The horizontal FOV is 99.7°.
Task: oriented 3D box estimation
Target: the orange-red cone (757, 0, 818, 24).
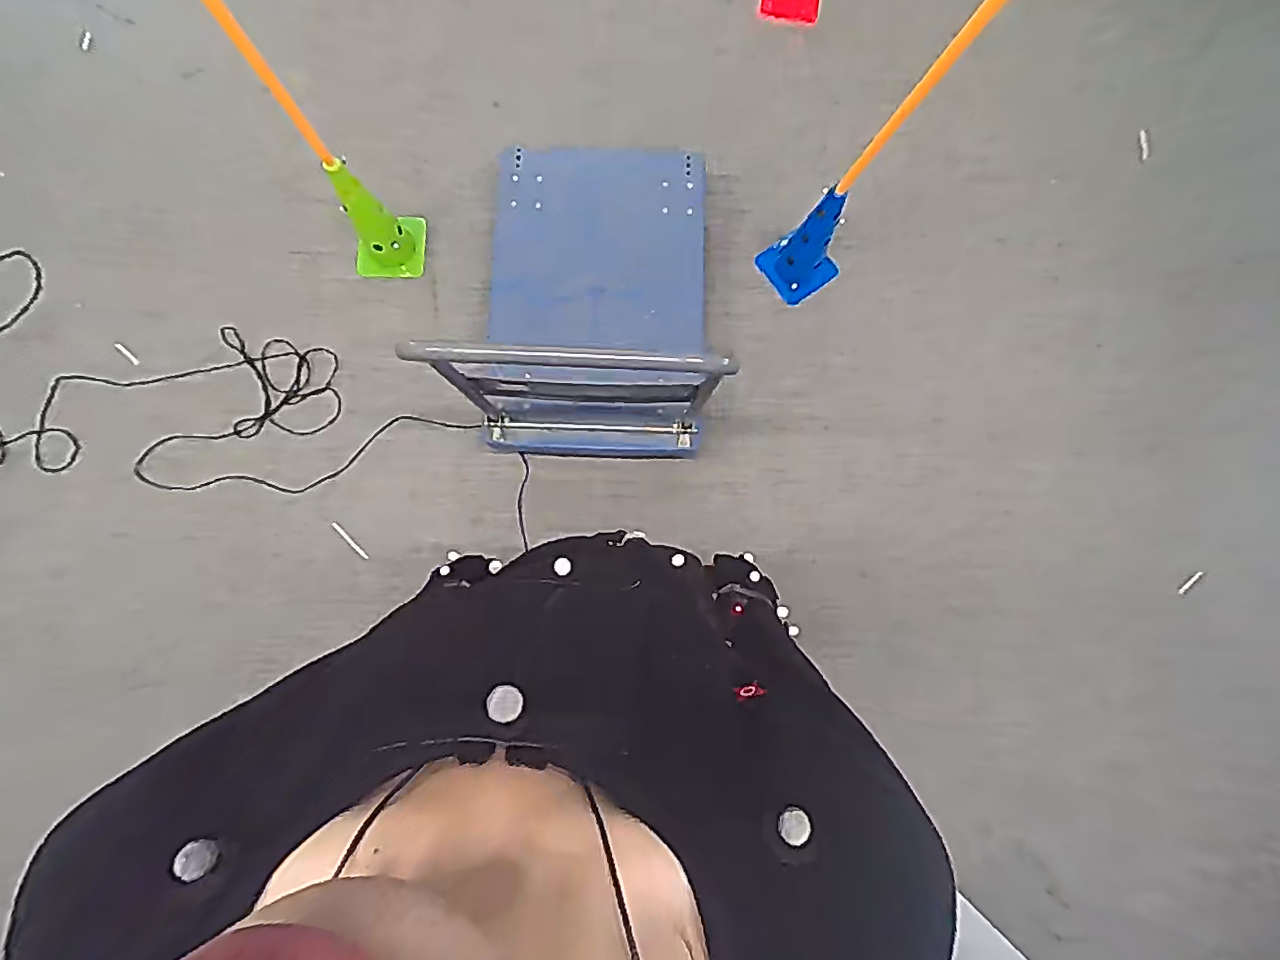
[{"bbox_3d":[0.506,-1.659,1.654,0.198,0.360,0.199,12,82,1],"label":"orange-red cone"}]
